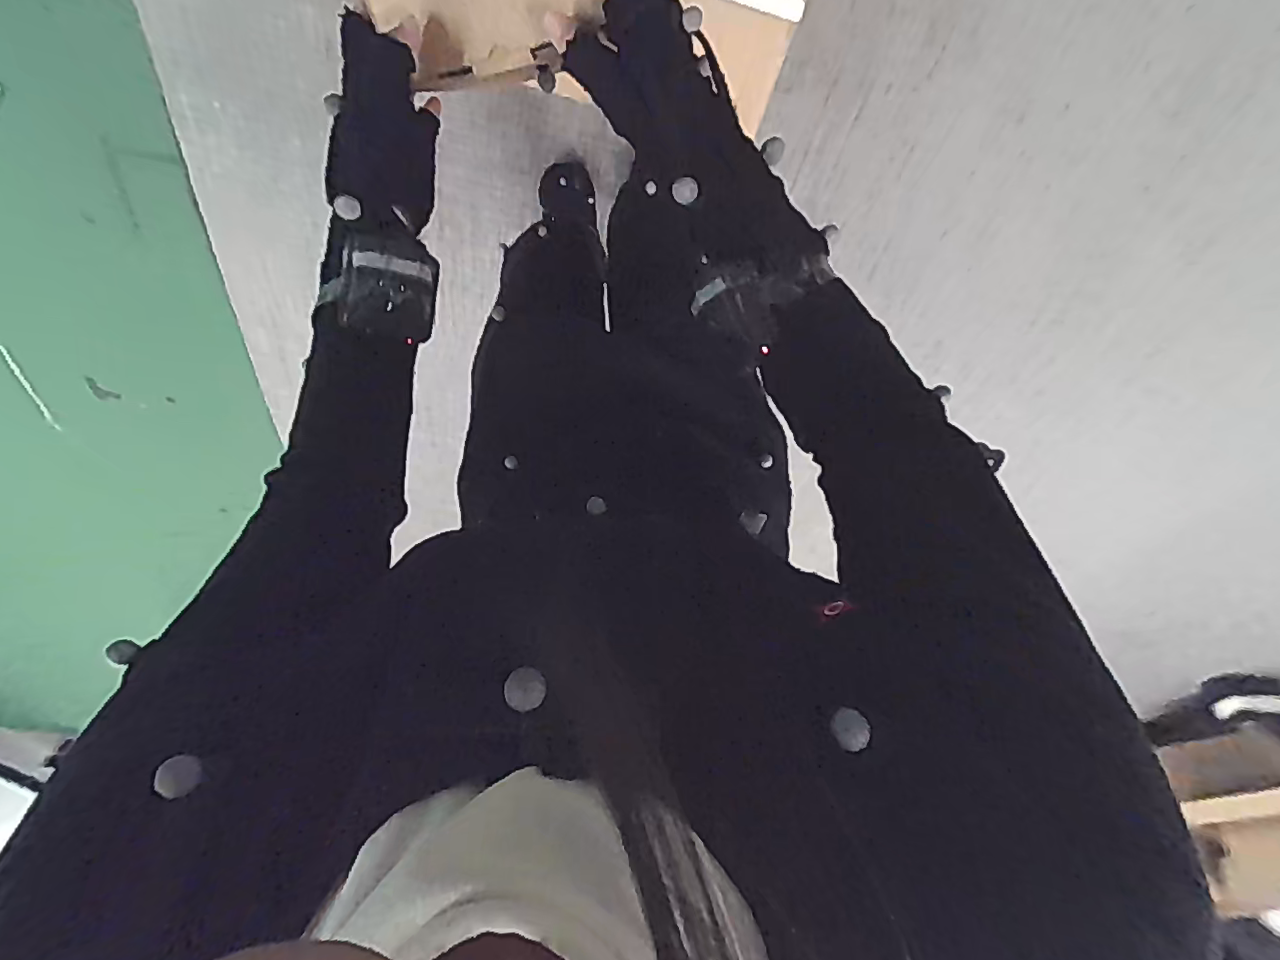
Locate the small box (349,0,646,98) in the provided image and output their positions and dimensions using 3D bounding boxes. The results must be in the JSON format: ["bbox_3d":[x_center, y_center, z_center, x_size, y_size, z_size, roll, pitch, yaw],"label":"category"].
[{"bbox_3d":[-0.101,-0.391,0.374,0.168,0.176,0.179,-3,126,17],"label":"small box"}]
